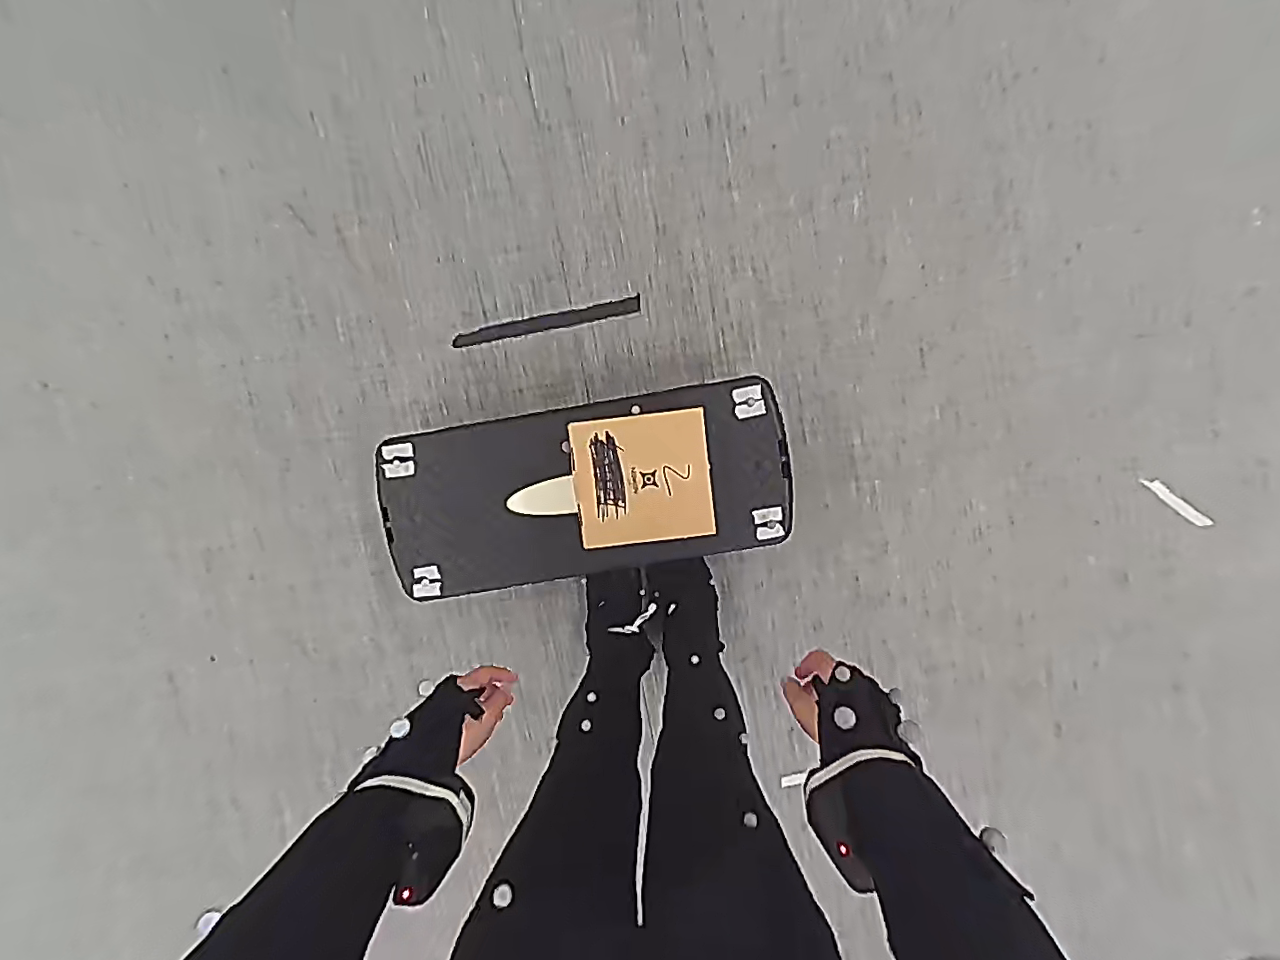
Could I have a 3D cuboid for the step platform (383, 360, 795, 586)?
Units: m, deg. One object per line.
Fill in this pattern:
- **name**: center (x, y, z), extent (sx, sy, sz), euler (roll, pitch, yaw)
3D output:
- **step platform**: center (-0.080, -0.013, 0.952), extent (0.684, 0.204, 0.286), euler (-10, 95, 2)
